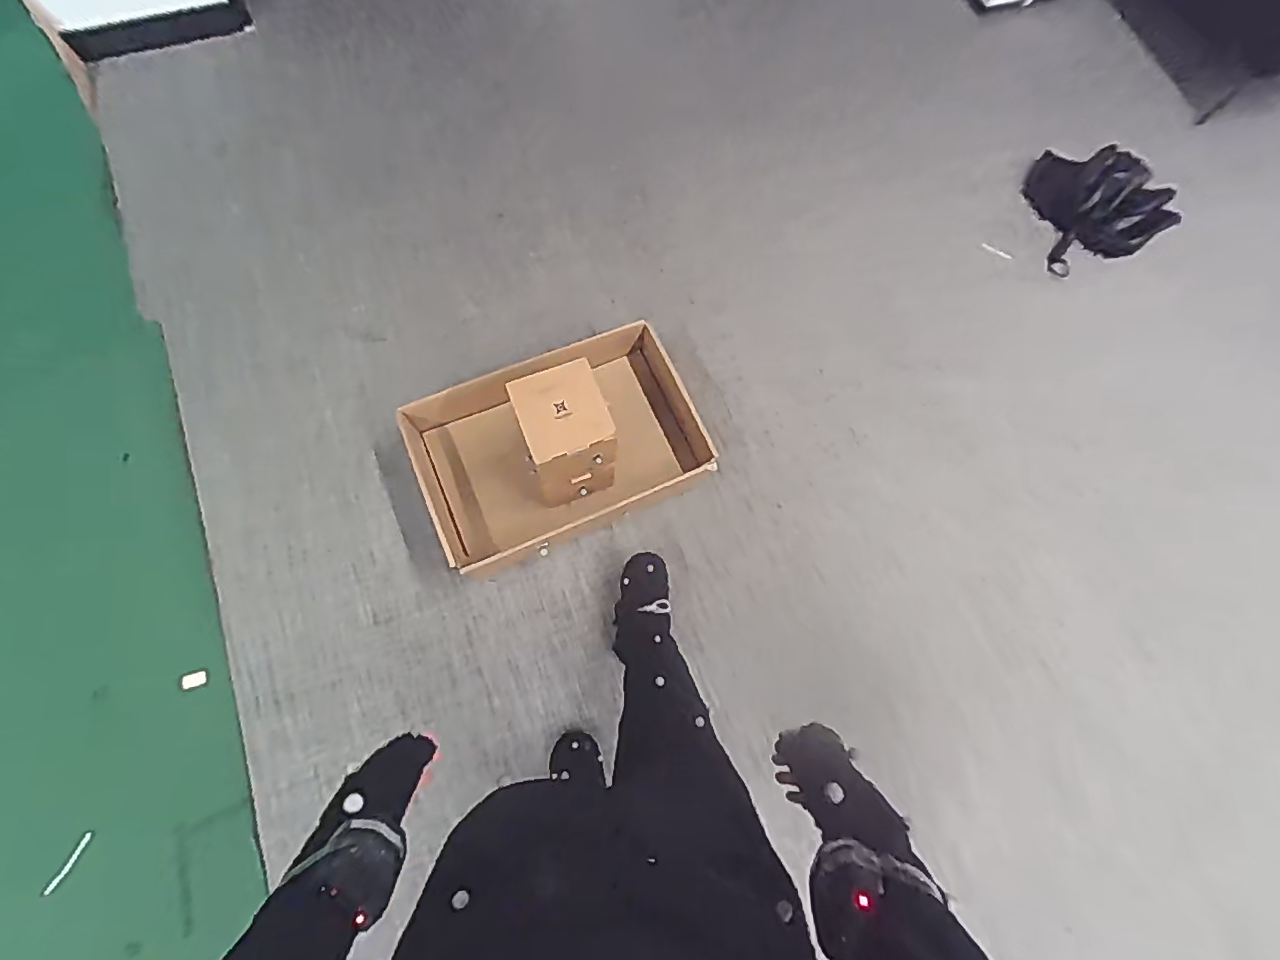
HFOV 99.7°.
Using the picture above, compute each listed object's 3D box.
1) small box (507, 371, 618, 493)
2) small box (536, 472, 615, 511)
[{"bbox_3d":[-0.151,-0.086,1.092,0.168,0.176,0.179,-21,75,-10],"label":"small box"},{"bbox_3d":[-0.161,-0.038,1.246,0.168,0.176,0.179,-20,76,-9],"label":"small box"}]
